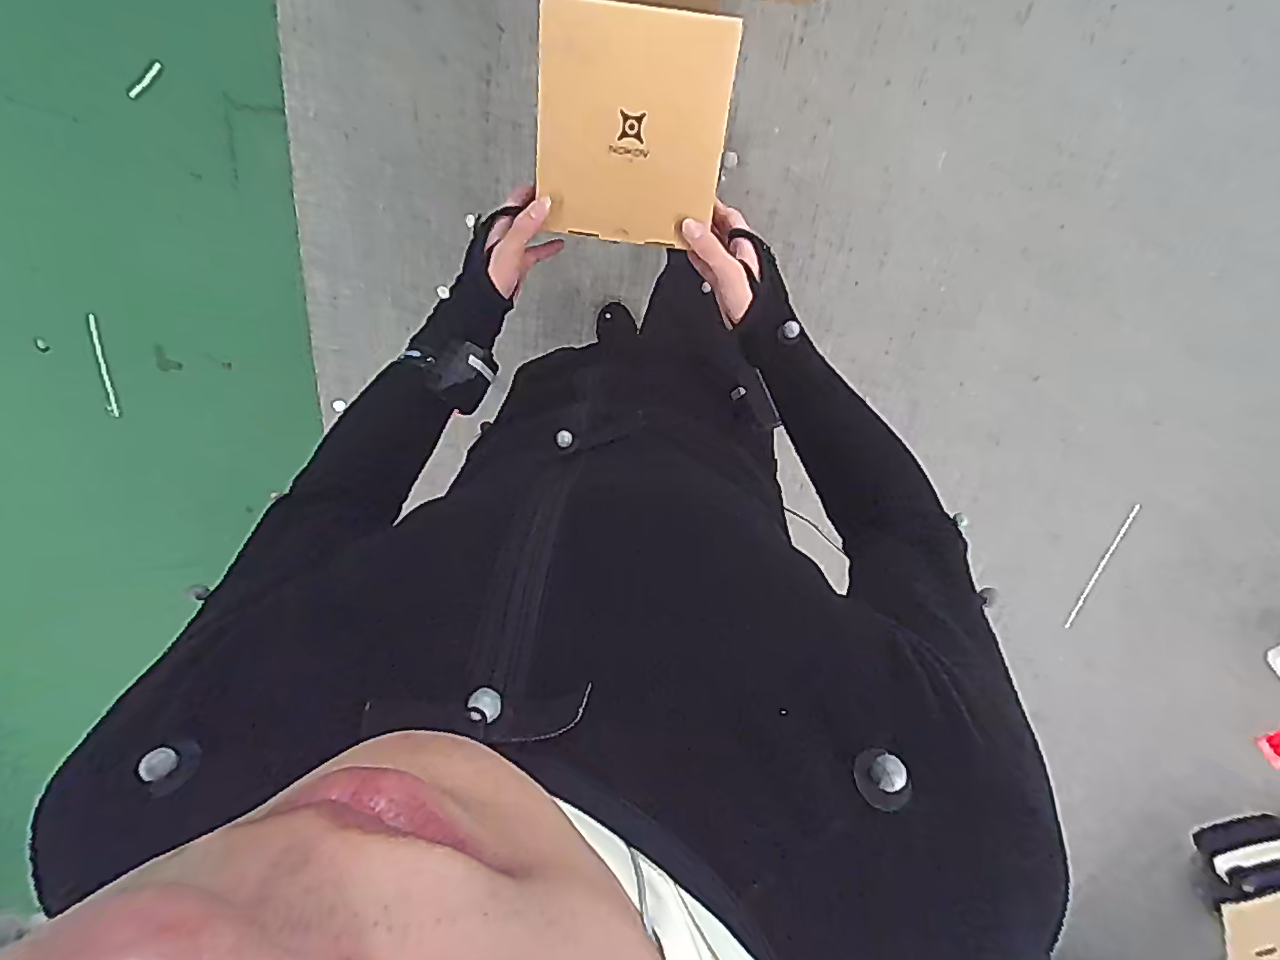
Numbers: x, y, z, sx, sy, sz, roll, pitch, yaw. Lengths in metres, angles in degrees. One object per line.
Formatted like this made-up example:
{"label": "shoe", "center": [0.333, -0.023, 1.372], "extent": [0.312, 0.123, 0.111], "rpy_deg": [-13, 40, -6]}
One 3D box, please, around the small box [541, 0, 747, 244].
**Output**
{"label": "small box", "center": [-0.002, -0.347, 0.539], "extent": [0.168, 0.176, 0.179], "rpy_deg": [6, 120, -1]}

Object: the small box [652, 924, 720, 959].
{"label": "small box", "center": [0.123, 1.294, 1.404], "extent": [0.179, 0.176, 0.168], "rpy_deg": [-5, 113, 6]}
